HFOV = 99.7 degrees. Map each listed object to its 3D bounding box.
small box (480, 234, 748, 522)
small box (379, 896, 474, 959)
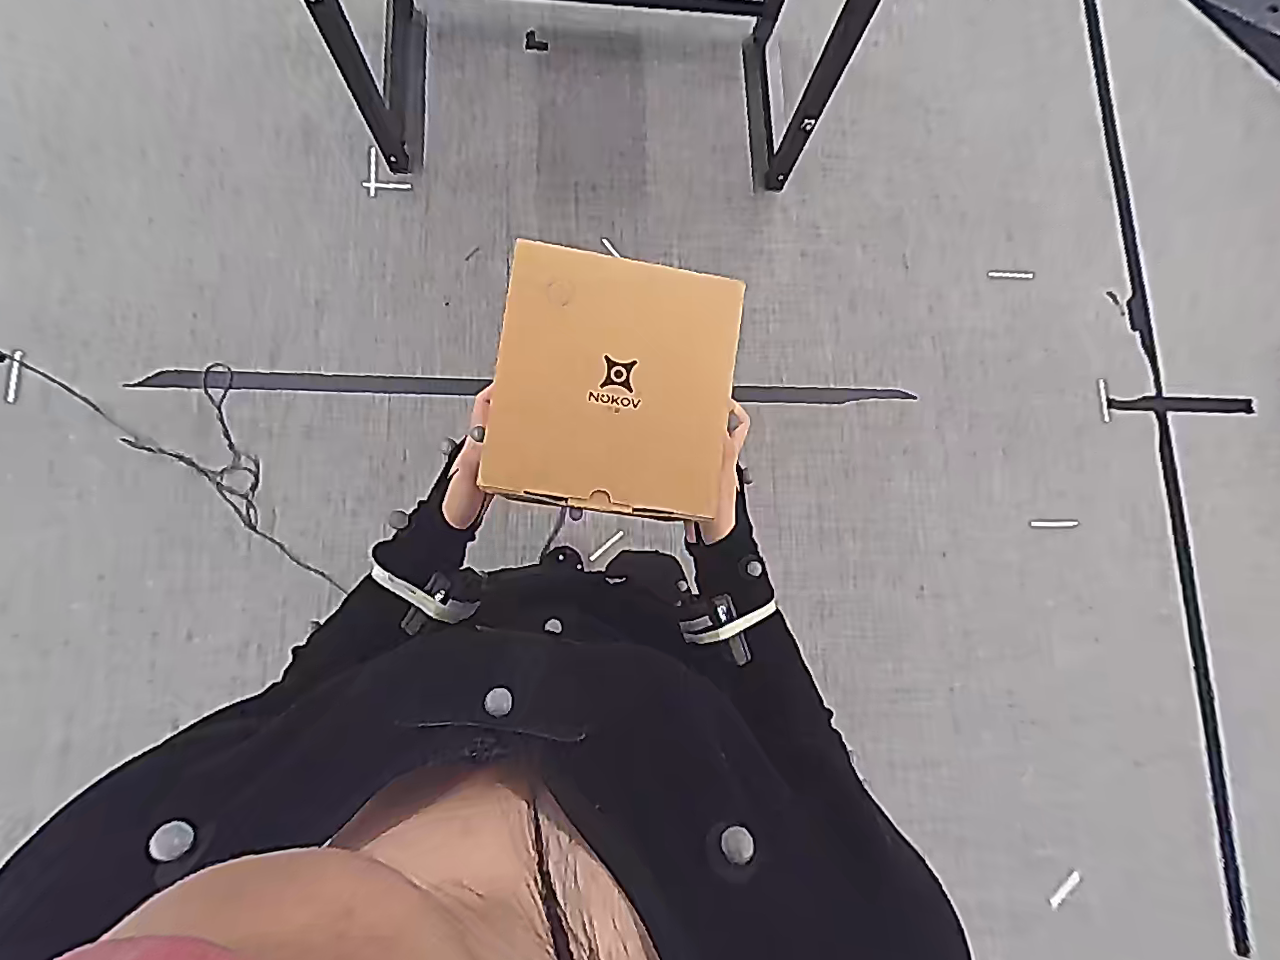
[{"bbox_3d":[-0.025,-0.064,0.446,0.168,0.176,0.179,8,86,-7],"label":"small box"},{"bbox_3d":[-0.483,1.098,1.240,0.168,0.176,0.179,-6,83,-7],"label":"small box"}]
